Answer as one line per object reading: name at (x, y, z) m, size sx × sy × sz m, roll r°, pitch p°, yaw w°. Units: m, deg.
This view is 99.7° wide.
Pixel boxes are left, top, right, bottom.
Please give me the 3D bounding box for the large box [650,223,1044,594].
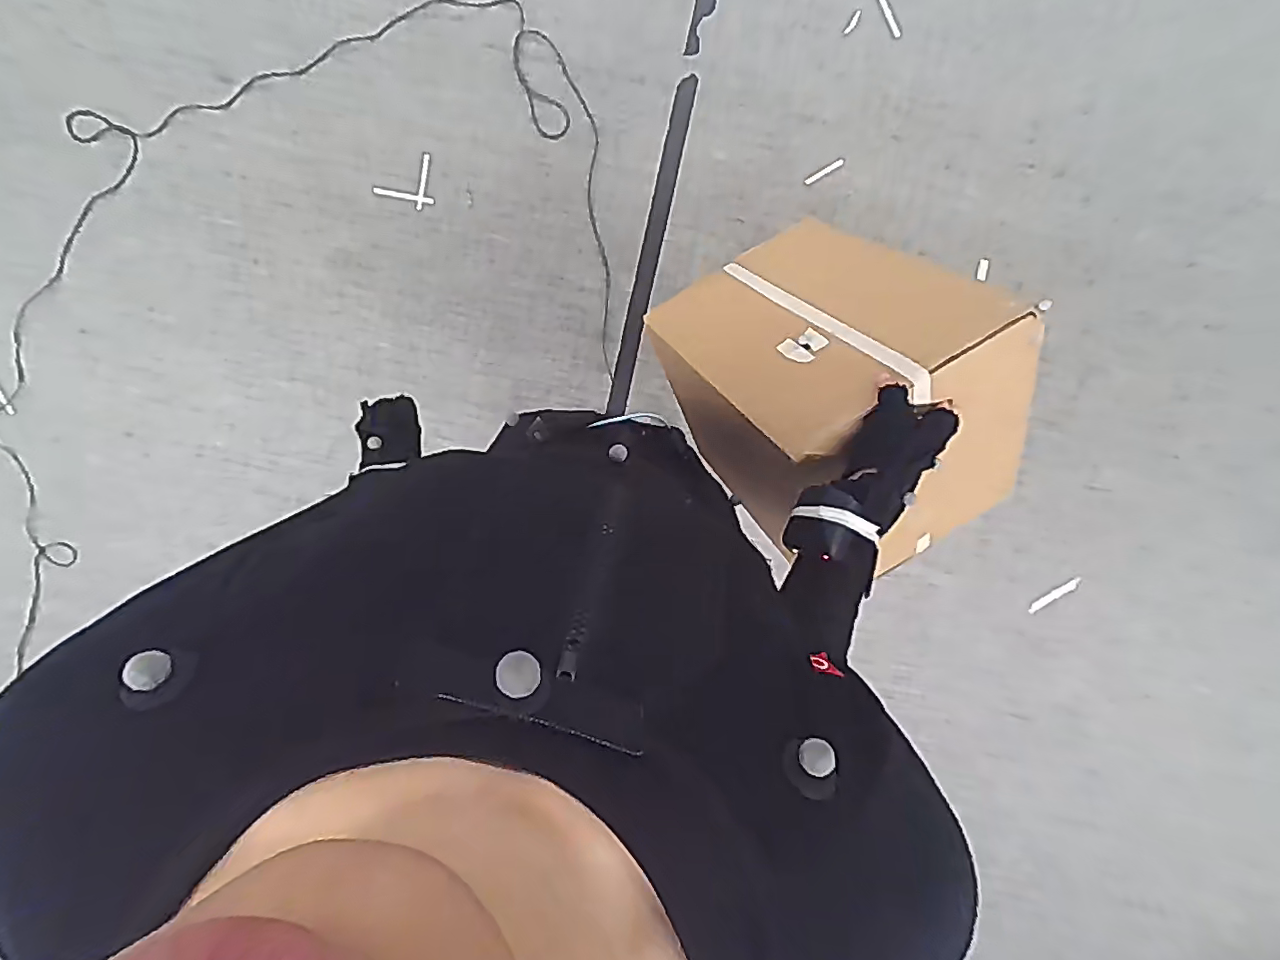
large box at (0.268, -0.119, 0.802) m, size 0.320 × 0.408 × 0.320 m, roll -31°, pitch 134°, yaw -1°
